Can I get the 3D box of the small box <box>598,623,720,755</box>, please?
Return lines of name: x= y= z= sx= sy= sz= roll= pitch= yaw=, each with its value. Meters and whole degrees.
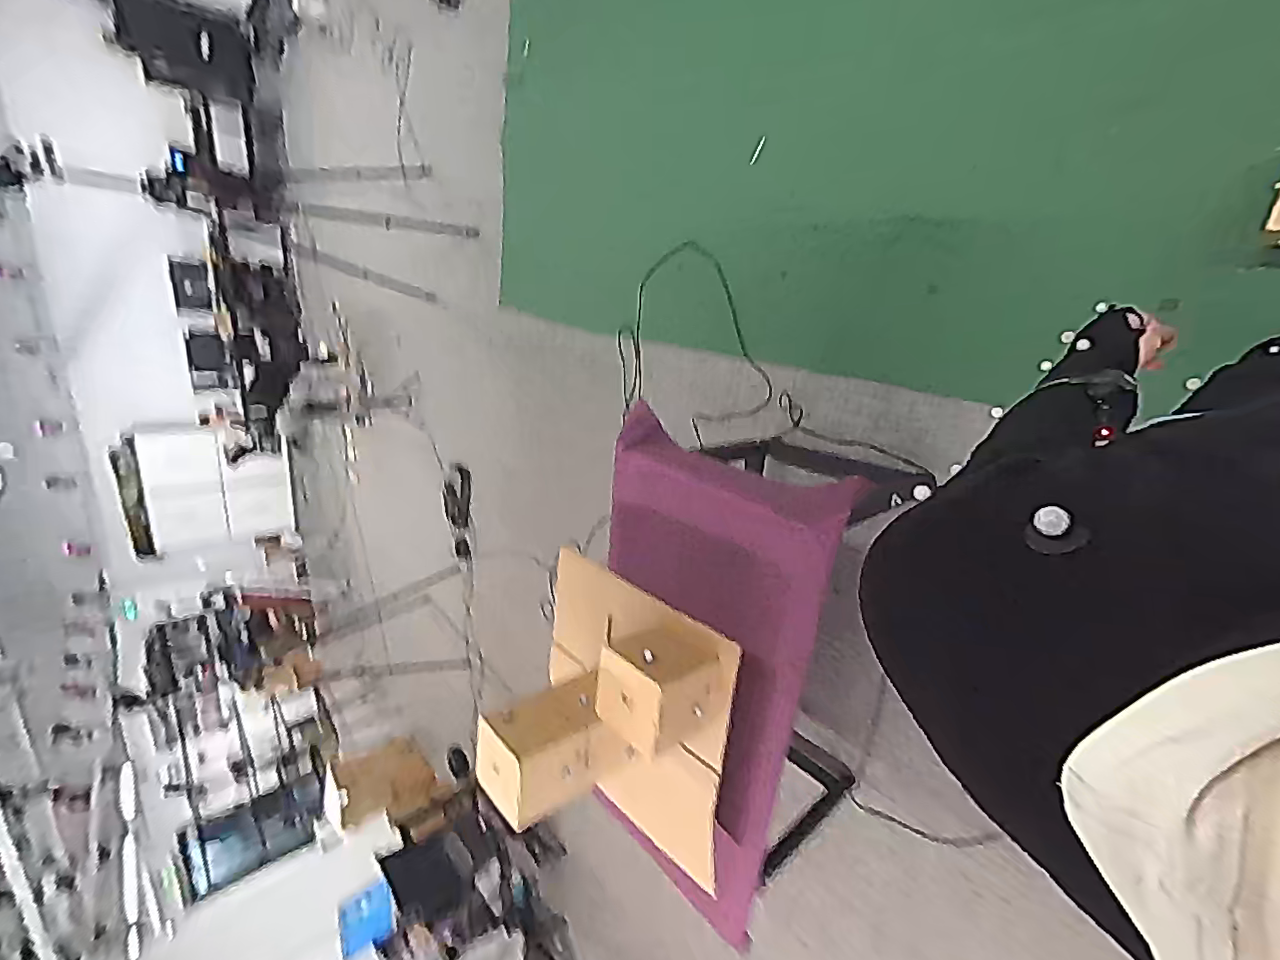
small box: x=0.037 y=0.414 z=1.110 sx=0.179 sy=0.176 sz=0.168 roll=20 pitch=111 yaw=43

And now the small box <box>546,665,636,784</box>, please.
small box: x=-0.111 y=0.570 z=1.289 sx=0.179 sy=0.176 sz=0.168 roll=20 pitch=110 yaw=44

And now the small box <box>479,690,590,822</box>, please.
small box: x=-0.233 y=0.586 z=1.180 sx=0.179 sy=0.176 sz=0.168 roll=20 pitch=110 yaw=43
